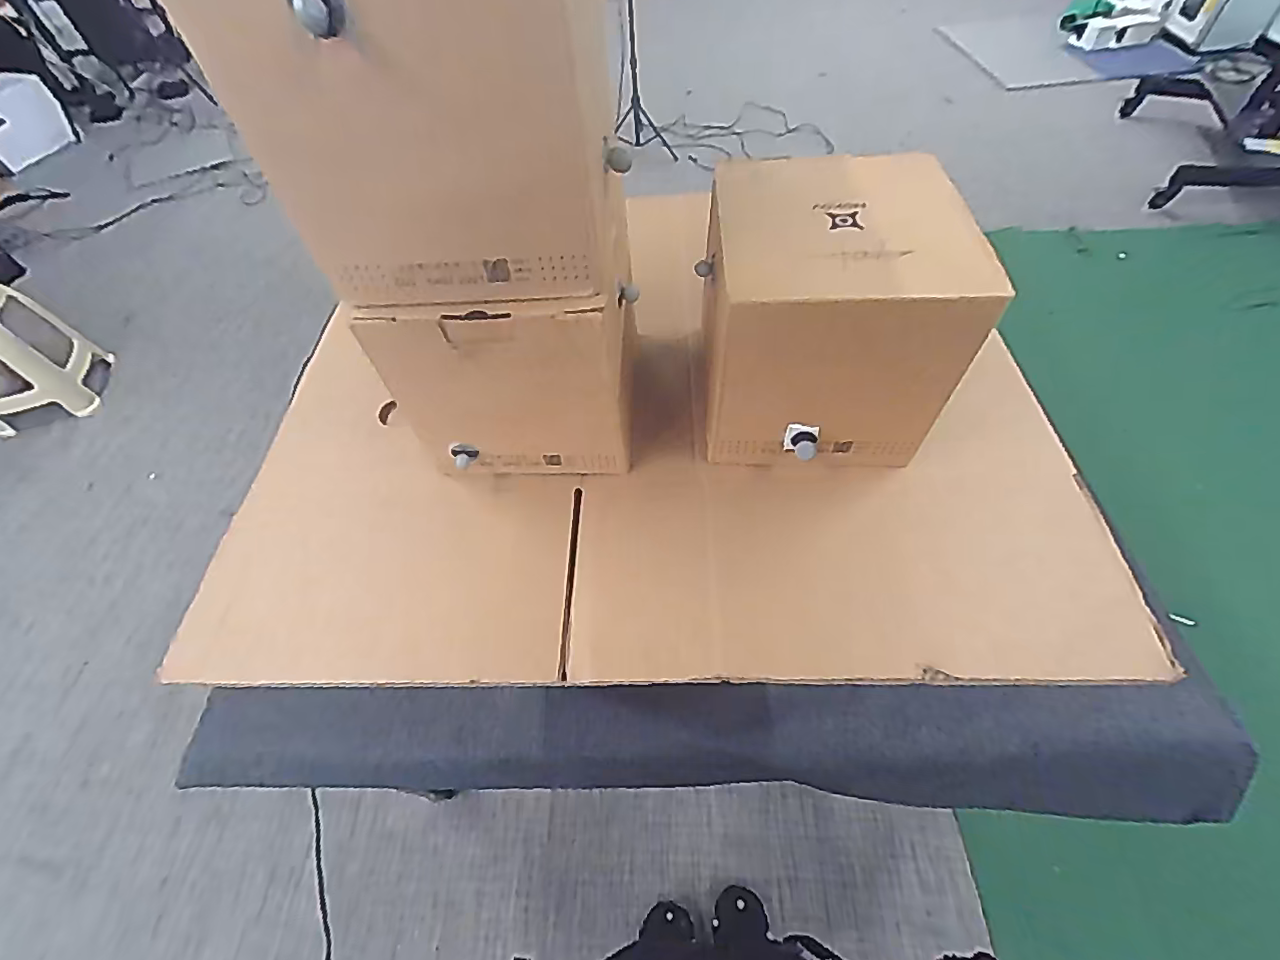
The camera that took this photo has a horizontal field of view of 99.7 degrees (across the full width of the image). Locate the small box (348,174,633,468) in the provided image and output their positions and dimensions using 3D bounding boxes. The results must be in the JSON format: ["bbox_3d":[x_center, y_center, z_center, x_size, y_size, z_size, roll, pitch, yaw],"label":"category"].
[{"bbox_3d":[-0.096,-0.122,0.447,0.168,0.176,0.179,0,55,4],"label":"small box"}]

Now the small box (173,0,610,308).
[{"bbox_3d":[-0.110,-0.225,0.321,0.168,0.176,0.179,-2,55,4],"label":"small box"}]
